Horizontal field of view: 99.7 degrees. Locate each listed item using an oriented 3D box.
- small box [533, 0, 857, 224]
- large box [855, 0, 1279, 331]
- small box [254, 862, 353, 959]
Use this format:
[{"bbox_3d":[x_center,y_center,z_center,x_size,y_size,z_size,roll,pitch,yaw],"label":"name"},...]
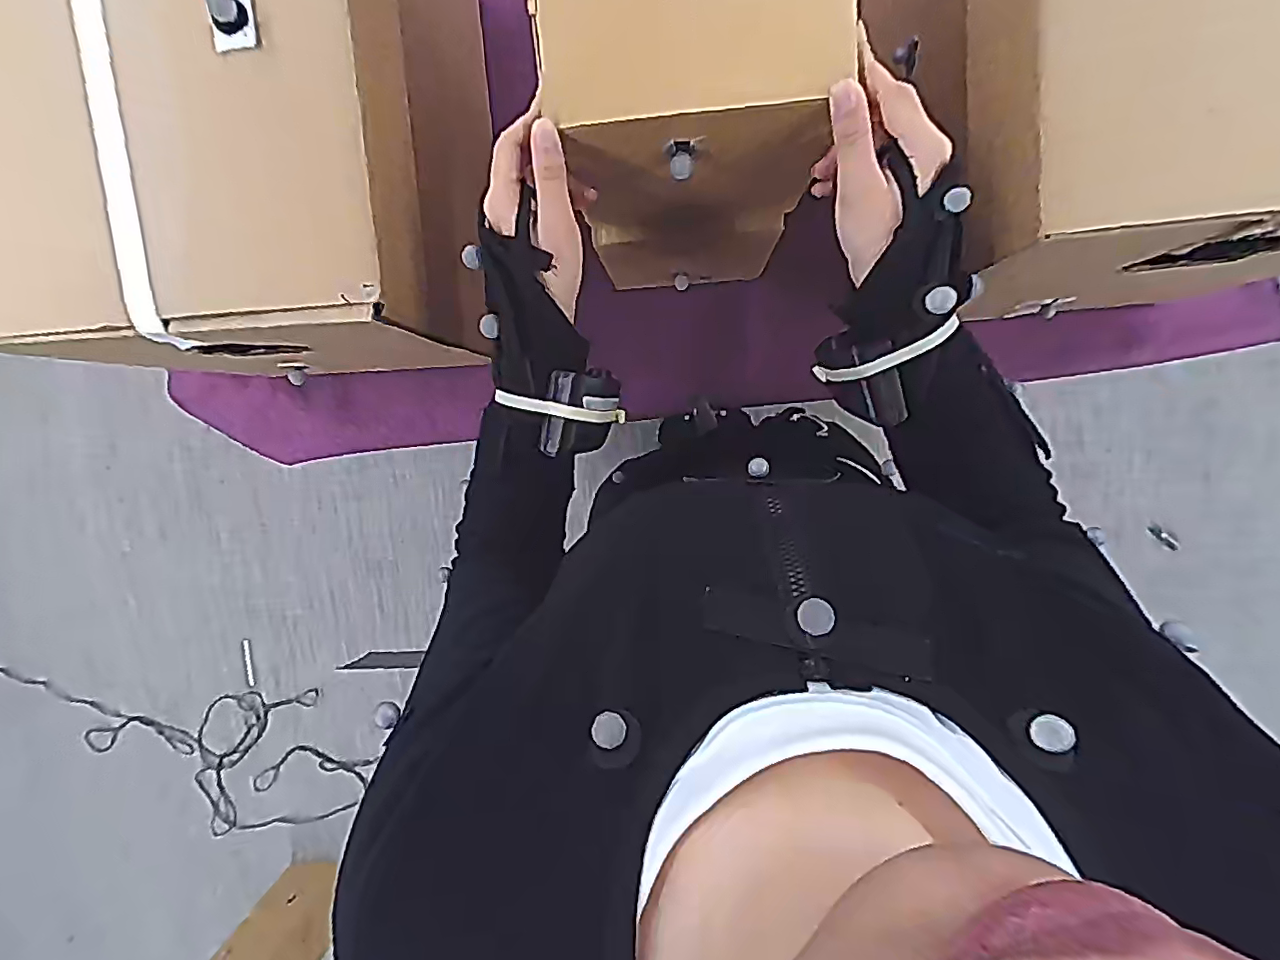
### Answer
[{"bbox_3d":[0.034,-0.292,0.369,0.179,0.176,0.168,-3,97,7],"label":"small box"},{"bbox_3d":[0.374,-0.360,0.426,0.320,0.320,0.408,-4,95,5],"label":"large box"},{"bbox_3d":[-0.948,1.231,1.545,0.179,0.176,0.168,-5,97,6],"label":"small box"}]
